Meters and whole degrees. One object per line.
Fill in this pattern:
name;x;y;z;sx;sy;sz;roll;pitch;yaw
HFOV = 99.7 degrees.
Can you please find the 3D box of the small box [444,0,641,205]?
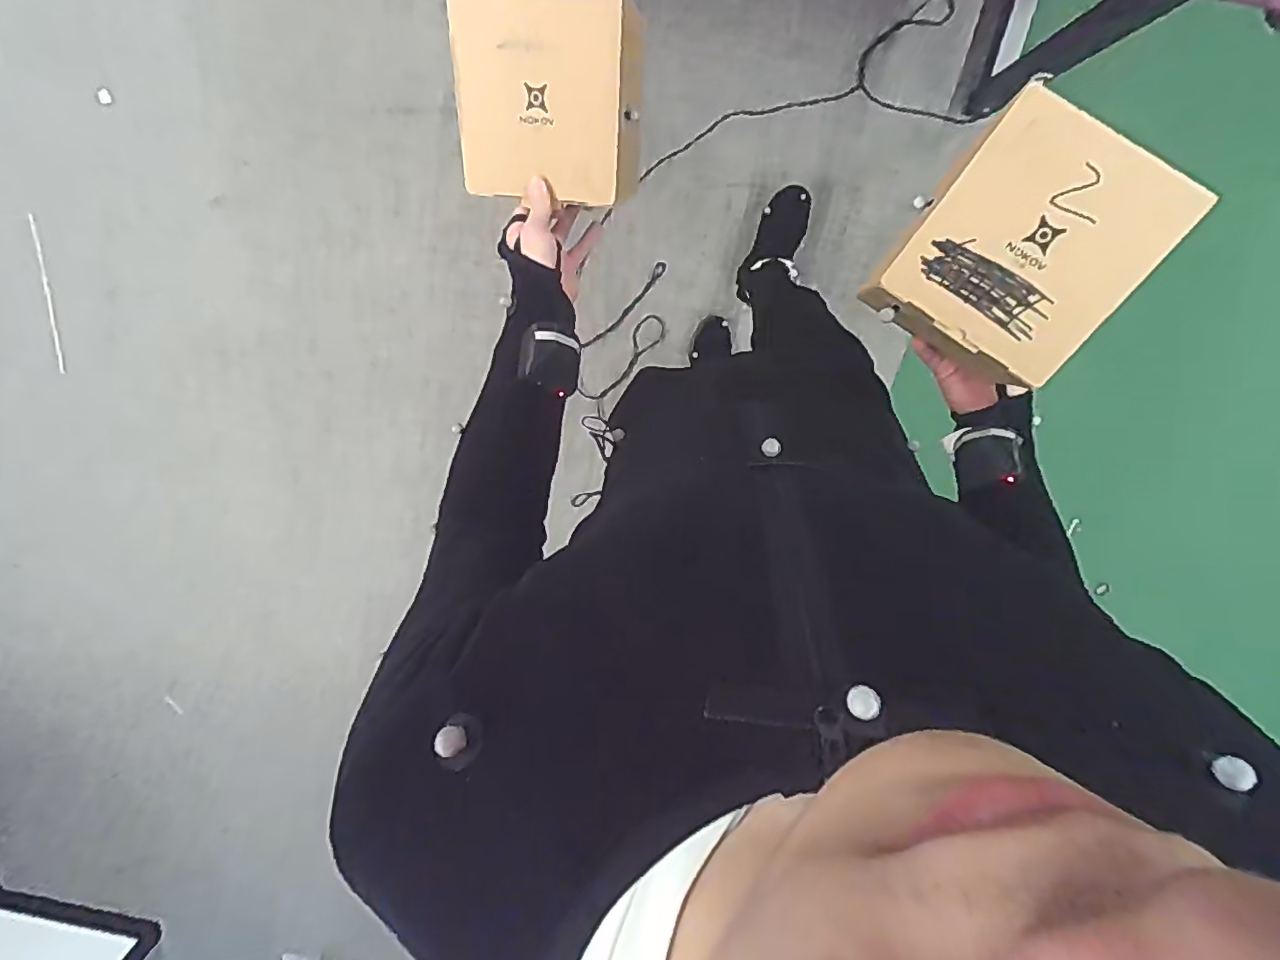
small box;-0.094;-0.417;0.595;0.168;0.176;0.179;8;123;4
